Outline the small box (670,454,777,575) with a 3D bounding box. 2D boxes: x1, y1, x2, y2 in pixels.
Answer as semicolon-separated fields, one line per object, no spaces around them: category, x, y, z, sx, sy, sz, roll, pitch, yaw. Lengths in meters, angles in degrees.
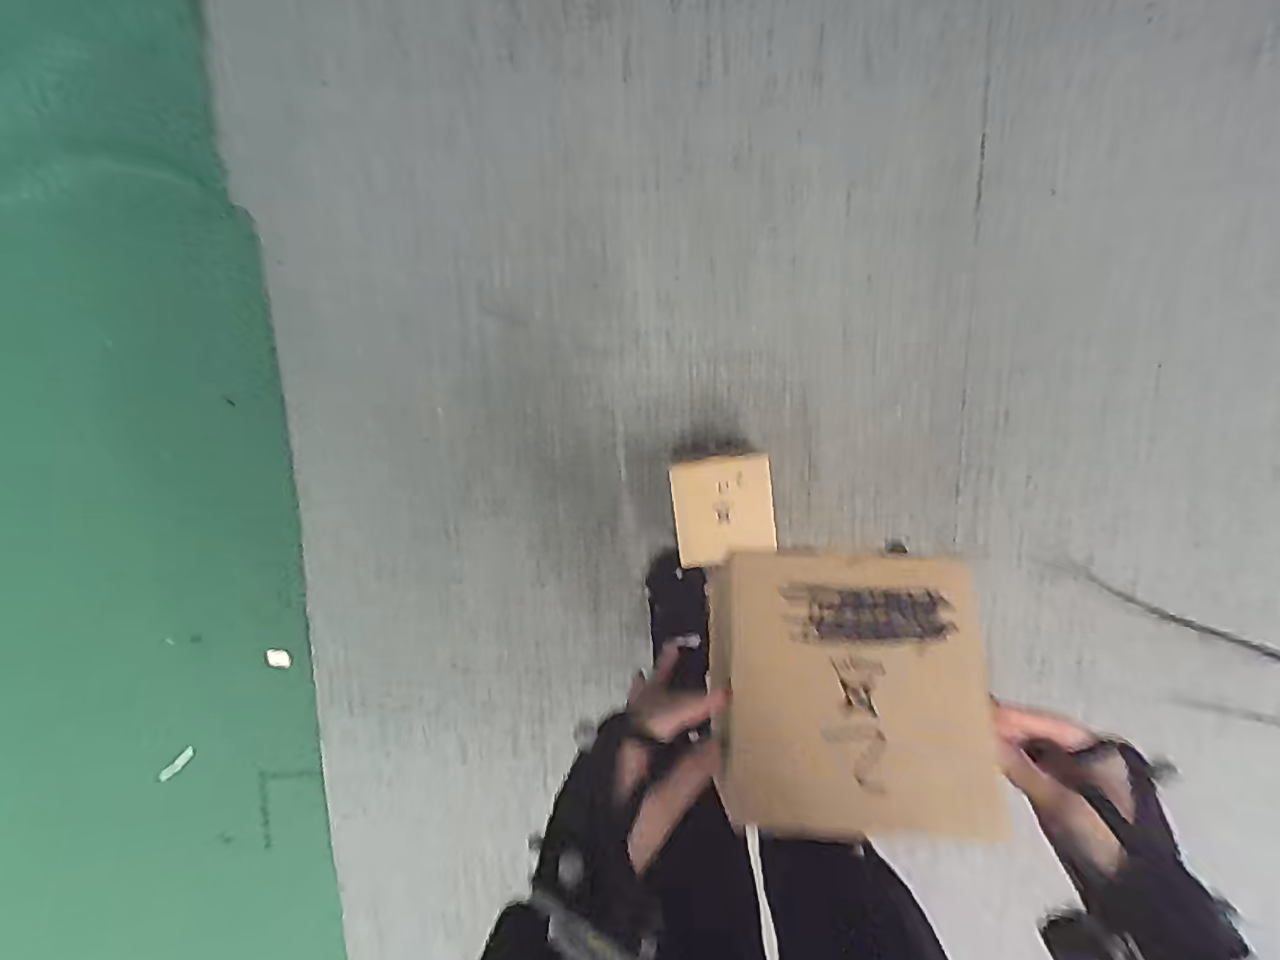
small box;0.148;0.057;0.985;0.168;0.176;0.179;-7;98;4
